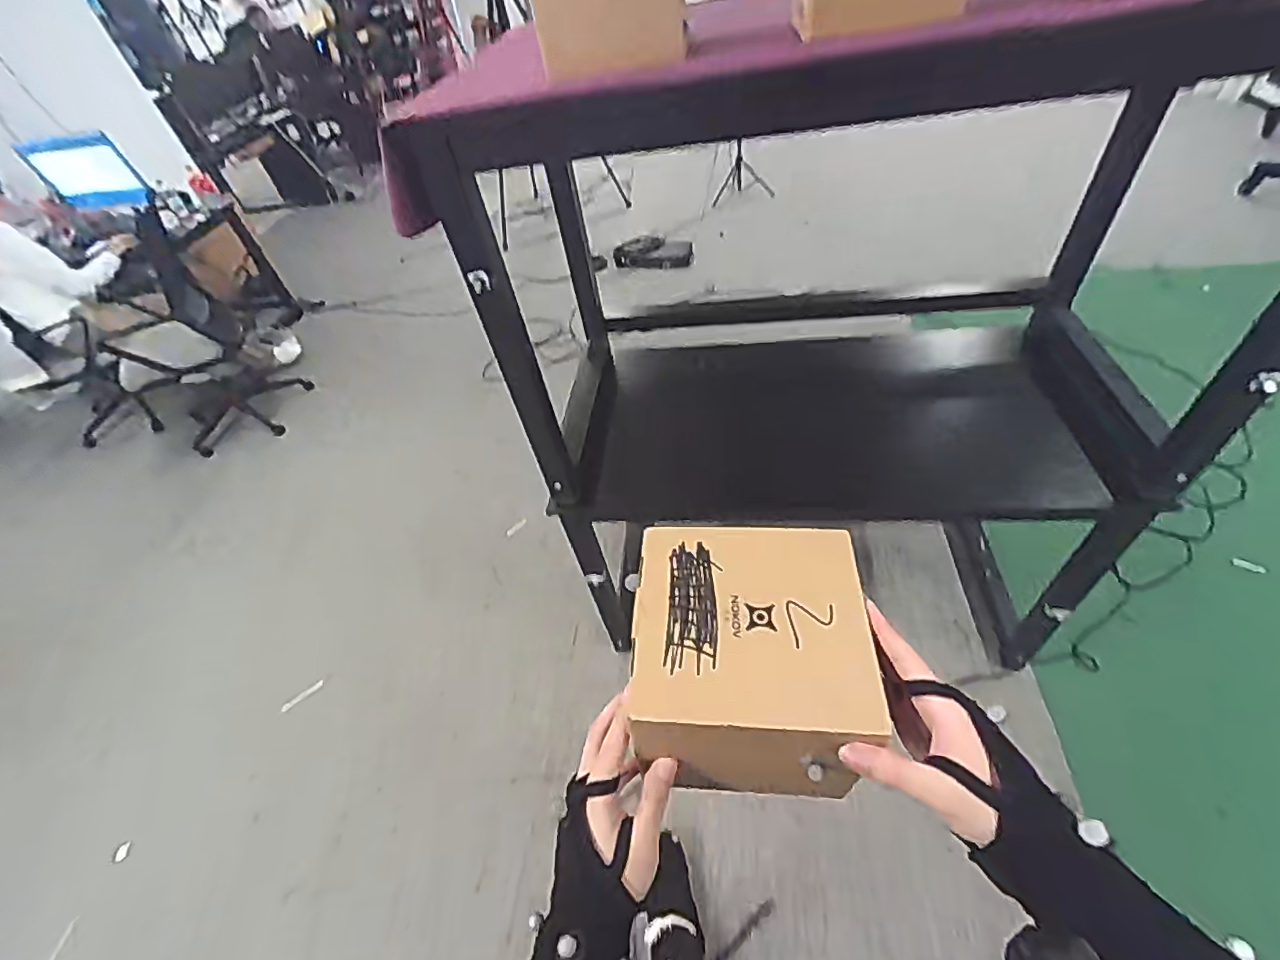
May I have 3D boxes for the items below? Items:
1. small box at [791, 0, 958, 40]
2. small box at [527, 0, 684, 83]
[{"bbox_3d":[0.266,-0.623,0.610,0.179,0.176,0.168,-1,47,9],"label":"small box"},{"bbox_3d":[-0.040,-0.613,0.656,0.179,0.176,0.168,-3,47,9],"label":"small box"}]
